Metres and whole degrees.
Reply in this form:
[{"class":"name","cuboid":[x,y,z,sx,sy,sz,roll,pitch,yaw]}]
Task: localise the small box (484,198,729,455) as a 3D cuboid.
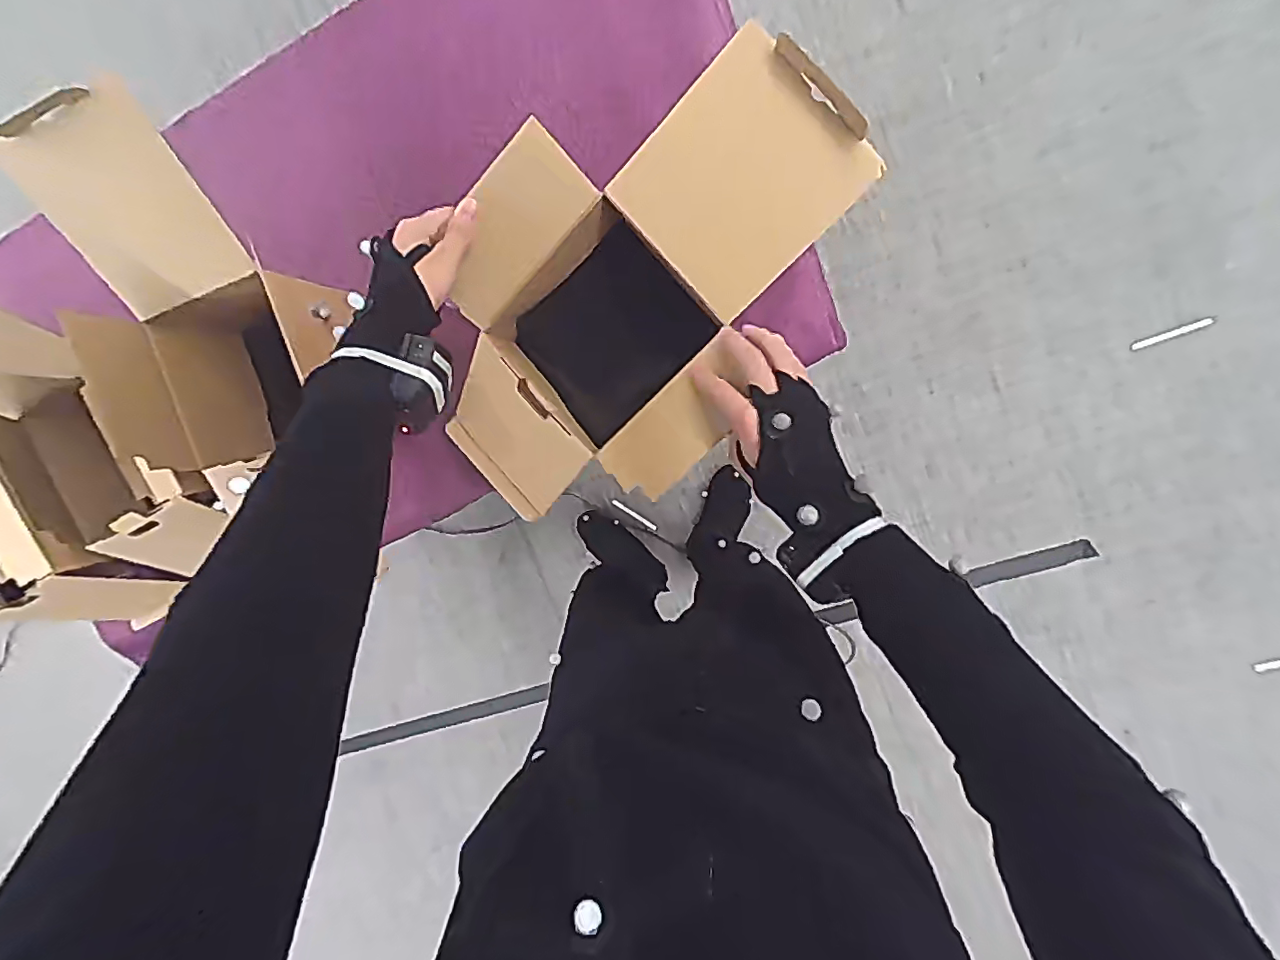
[{"class":"small box","cuboid":[-0.023,-0.149,0.577,0.179,0.176,0.168,-43,89,13]}]
